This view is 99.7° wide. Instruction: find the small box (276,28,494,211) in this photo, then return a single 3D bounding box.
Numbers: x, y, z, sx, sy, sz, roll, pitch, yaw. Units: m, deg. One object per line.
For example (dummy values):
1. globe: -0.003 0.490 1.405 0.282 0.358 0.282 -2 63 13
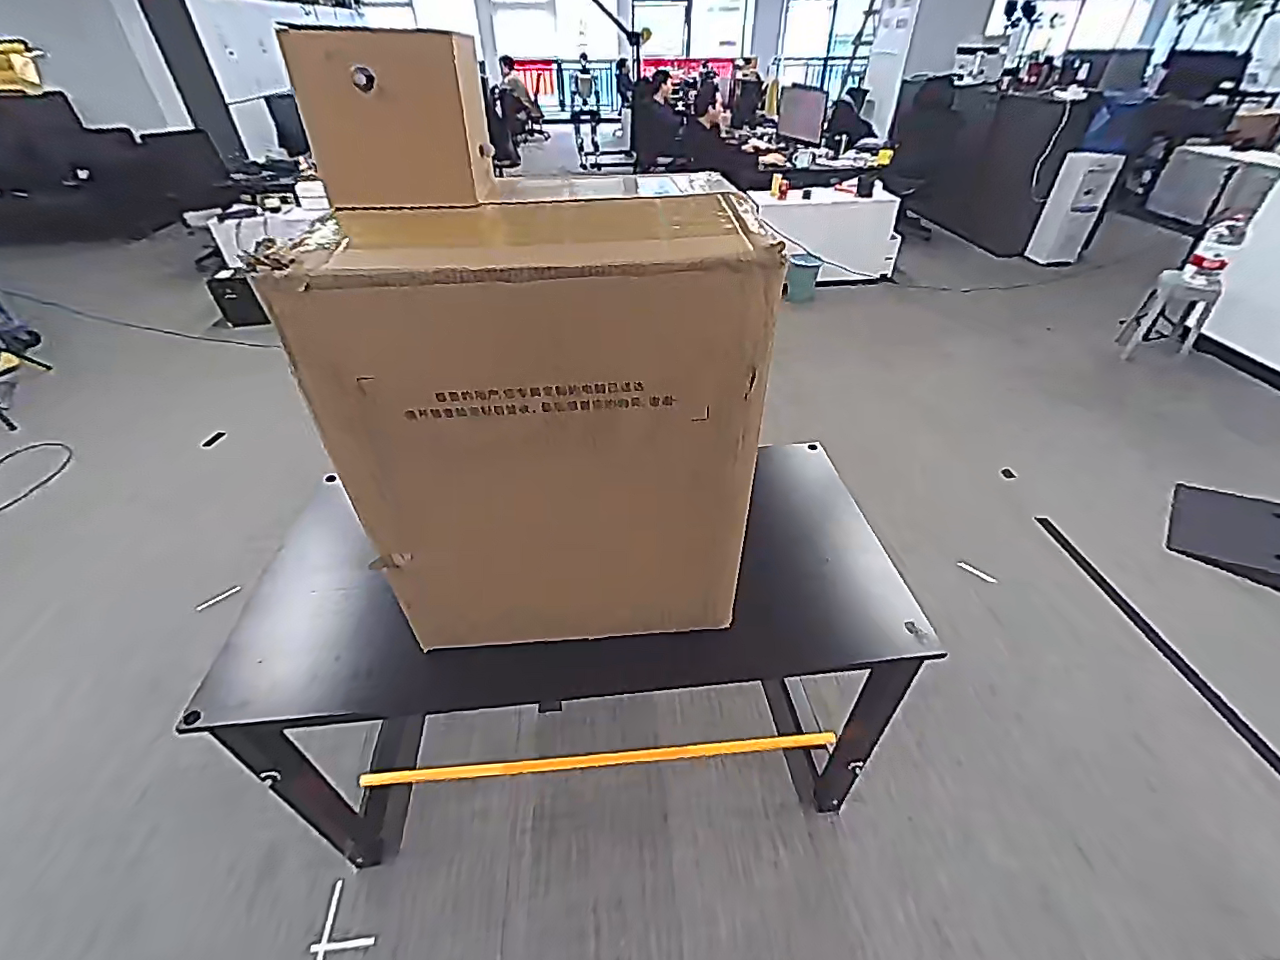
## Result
1. small box: -0.288 -0.434 0.659 0.179 0.176 0.168 -3 37 -4
